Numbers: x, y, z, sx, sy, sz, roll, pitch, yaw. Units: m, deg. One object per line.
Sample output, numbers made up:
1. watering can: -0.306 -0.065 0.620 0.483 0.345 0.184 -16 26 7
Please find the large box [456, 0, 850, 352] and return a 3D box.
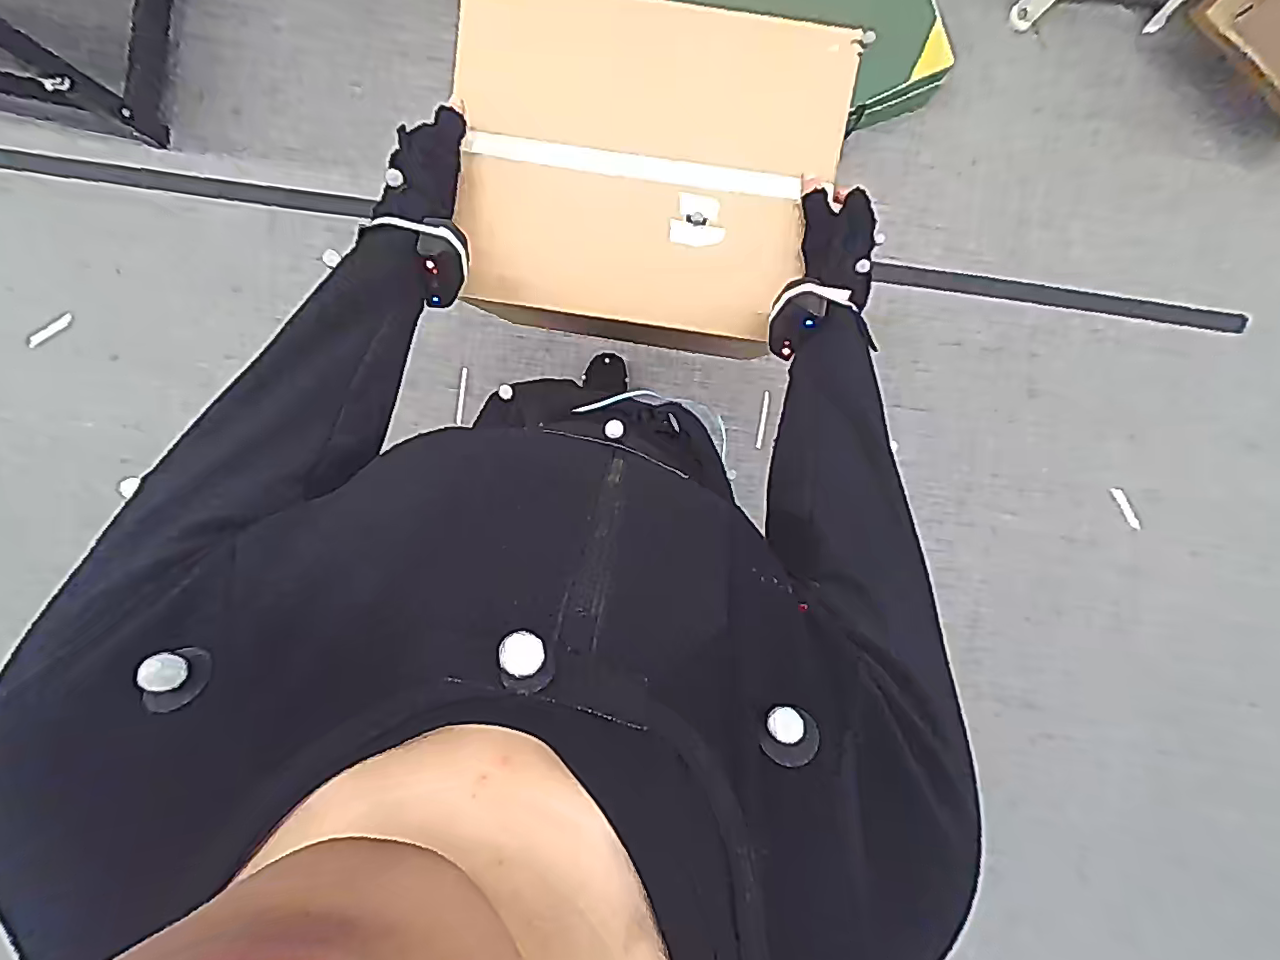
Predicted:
1. large box: 0.005 -0.363 0.735 0.408 0.320 0.320 8 101 -2
